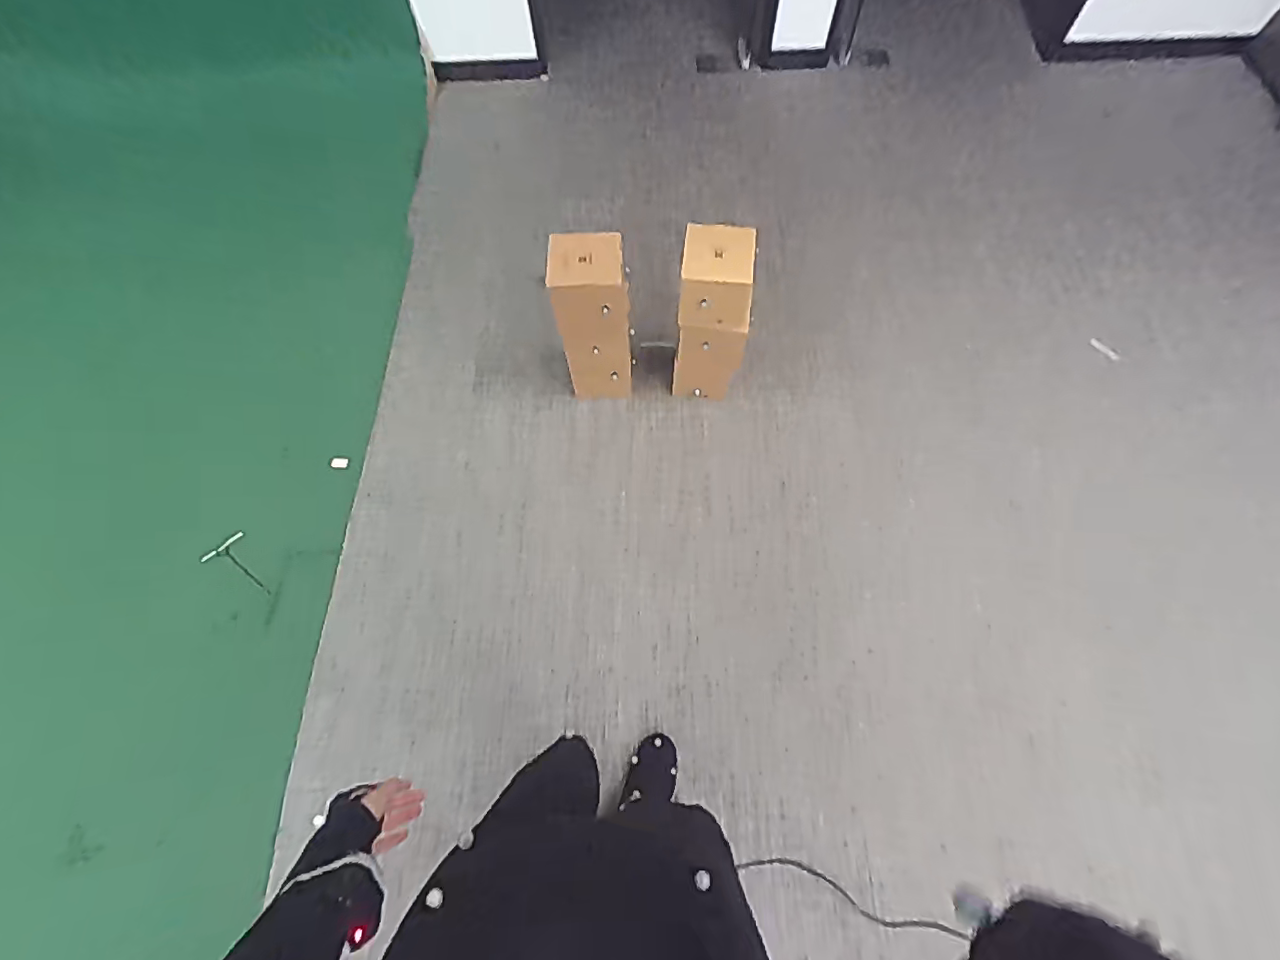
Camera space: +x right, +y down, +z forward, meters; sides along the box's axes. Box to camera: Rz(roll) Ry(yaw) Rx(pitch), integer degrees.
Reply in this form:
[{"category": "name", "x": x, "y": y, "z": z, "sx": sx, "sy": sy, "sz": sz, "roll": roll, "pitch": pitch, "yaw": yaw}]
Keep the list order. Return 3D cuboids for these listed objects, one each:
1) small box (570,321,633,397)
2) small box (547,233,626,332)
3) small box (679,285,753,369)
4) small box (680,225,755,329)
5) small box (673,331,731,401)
[{"category": "small box", "x": -0.111, "y": -0.364, "z": 1.645, "sx": 0.179, "sy": 0.176, "sz": 0.168, "roll": -1, "pitch": 65, "yaw": 2}, {"category": "small box", "x": -0.124, "y": -0.484, "z": 1.339, "sx": 0.179, "sy": 0.176, "sz": 0.168, "roll": -2, "pitch": 66, "yaw": 2}, {"category": "small box", "x": 0.204, "y": -0.424, "z": 1.483, "sx": 0.179, "sy": 0.176, "sz": 0.168, "roll": 8, "pitch": 67, "yaw": 6}, {"category": "small box", "x": 0.188, "y": -0.496, "z": 1.337, "sx": 0.168, "sy": 0.176, "sz": 0.179, "roll": 6, "pitch": 66, "yaw": 5}, {"category": "small box", "x": 0.194, "y": -0.363, "z": 1.635, "sx": 0.168, "sy": 0.176, "sz": 0.179, "roll": 8, "pitch": 68, "yaw": 6}]
